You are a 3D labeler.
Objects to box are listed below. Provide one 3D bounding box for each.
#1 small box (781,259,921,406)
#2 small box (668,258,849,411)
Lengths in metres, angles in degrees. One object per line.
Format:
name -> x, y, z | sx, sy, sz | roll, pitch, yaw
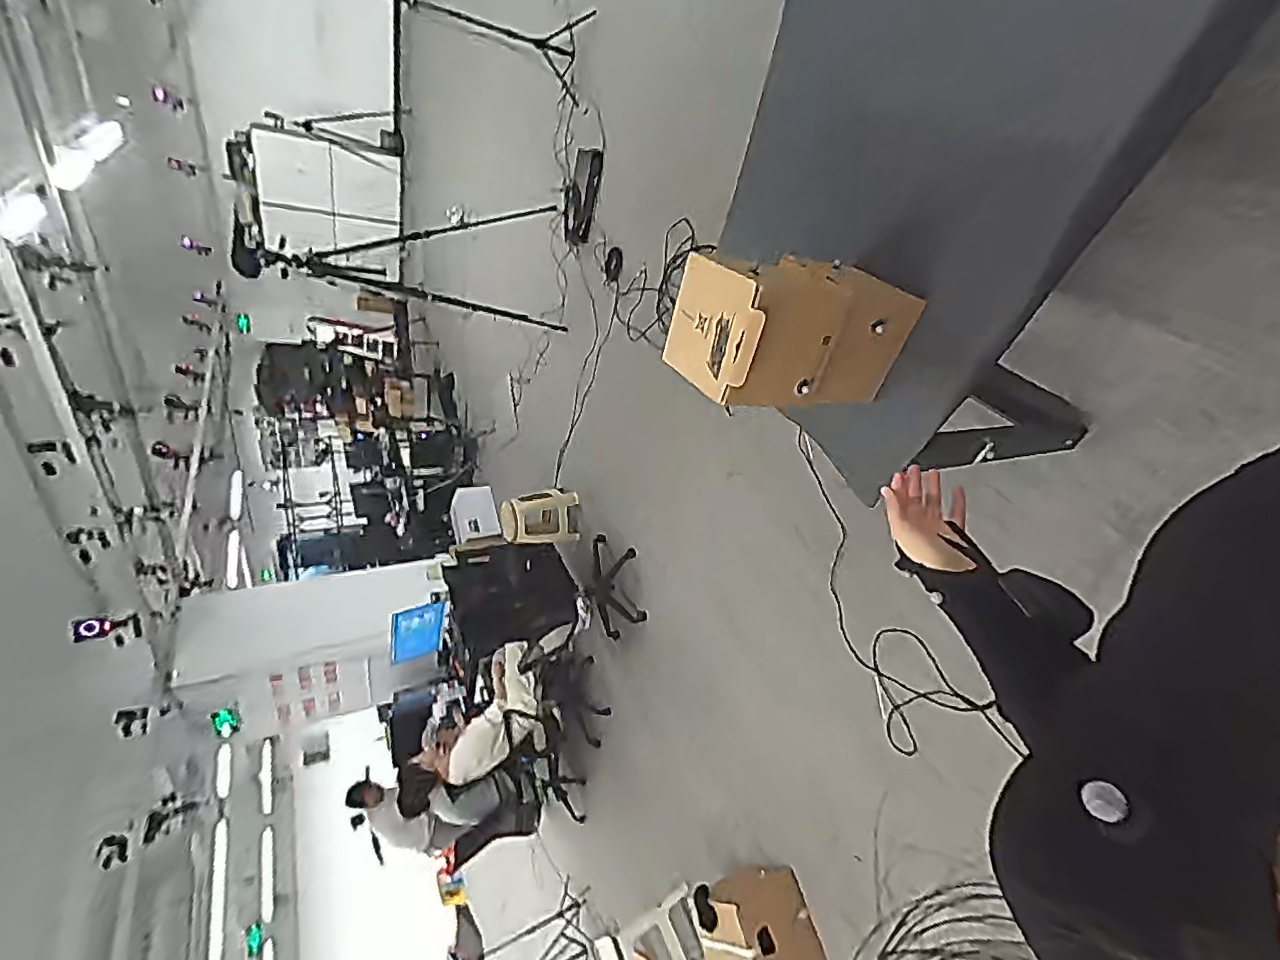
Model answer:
small box -> 0.314, -0.236, 0.874 | 0.168, 0.176, 0.179 | 54, 139, 43
small box -> 0.170, -0.214, 0.797 | 0.179, 0.176, 0.168 | 51, 136, 47
